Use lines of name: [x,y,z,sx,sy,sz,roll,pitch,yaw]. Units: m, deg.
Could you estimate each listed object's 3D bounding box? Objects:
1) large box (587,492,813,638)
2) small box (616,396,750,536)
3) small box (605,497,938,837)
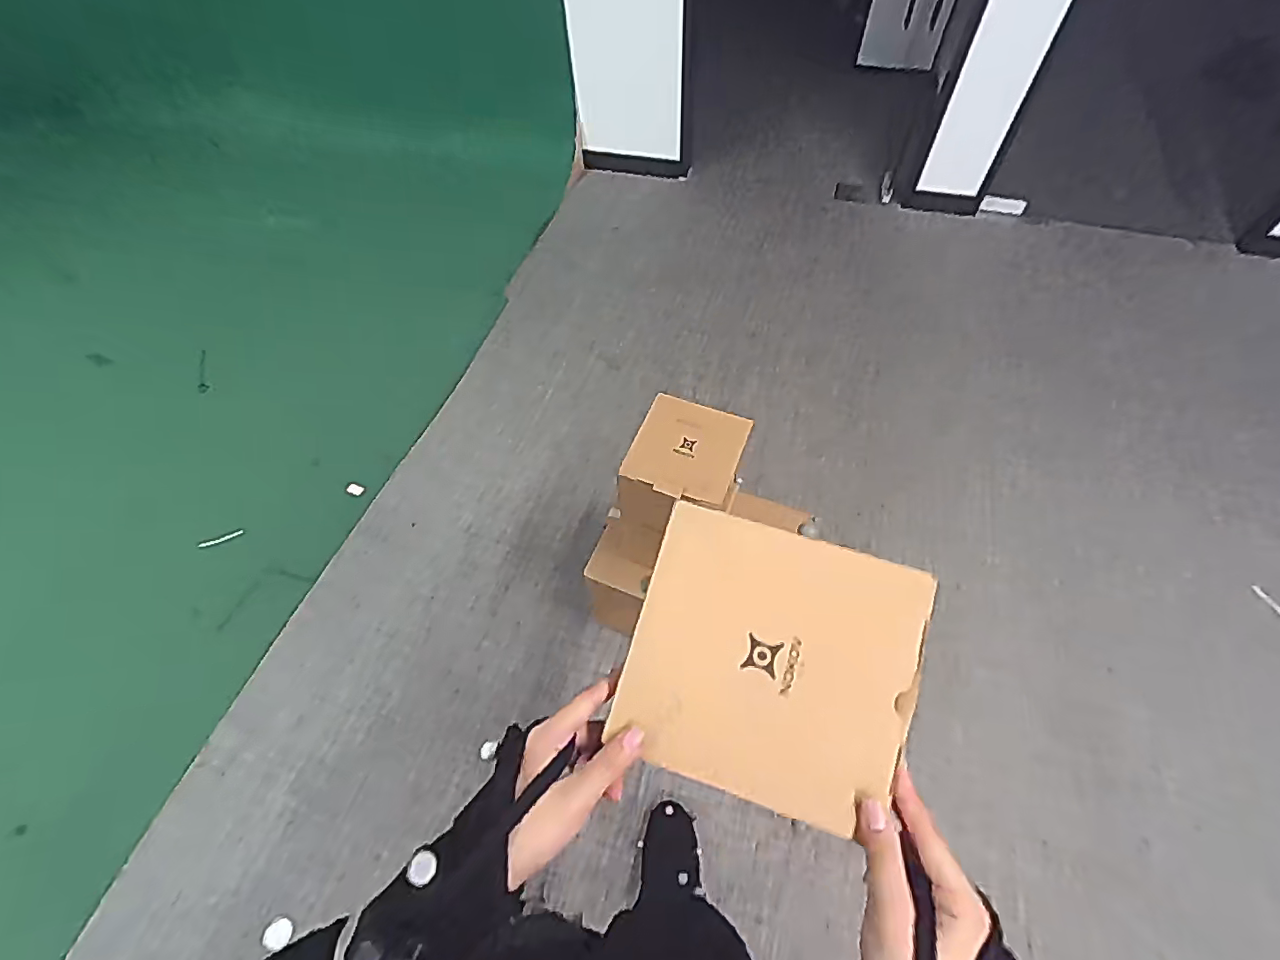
large box: [0.130,0.220,1.244,0.408,0.320,0.320,19,61,13]
small box: [0.072,-0.004,0.905,0.168,0.176,0.179,19,59,12]
small box: [0.092,0.129,0.418,0.179,0.176,0.168,16,78,10]
